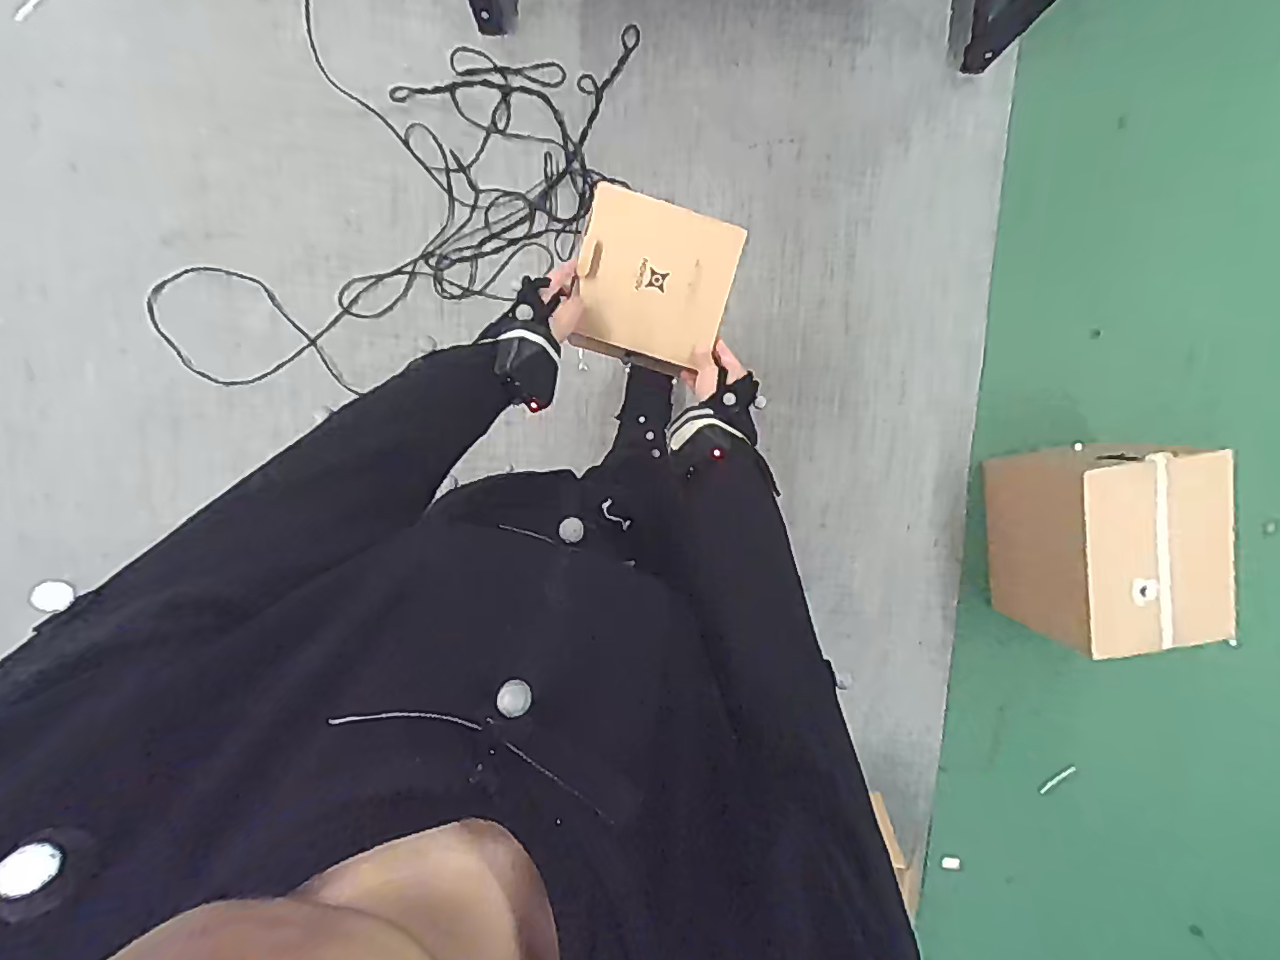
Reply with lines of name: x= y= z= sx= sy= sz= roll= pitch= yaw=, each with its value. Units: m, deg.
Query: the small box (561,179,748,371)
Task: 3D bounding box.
small box: x=0.011 y=-0.238 z=0.681 sx=0.179 sy=0.176 sz=0.168 roll=15 pitch=98 yaw=-6
